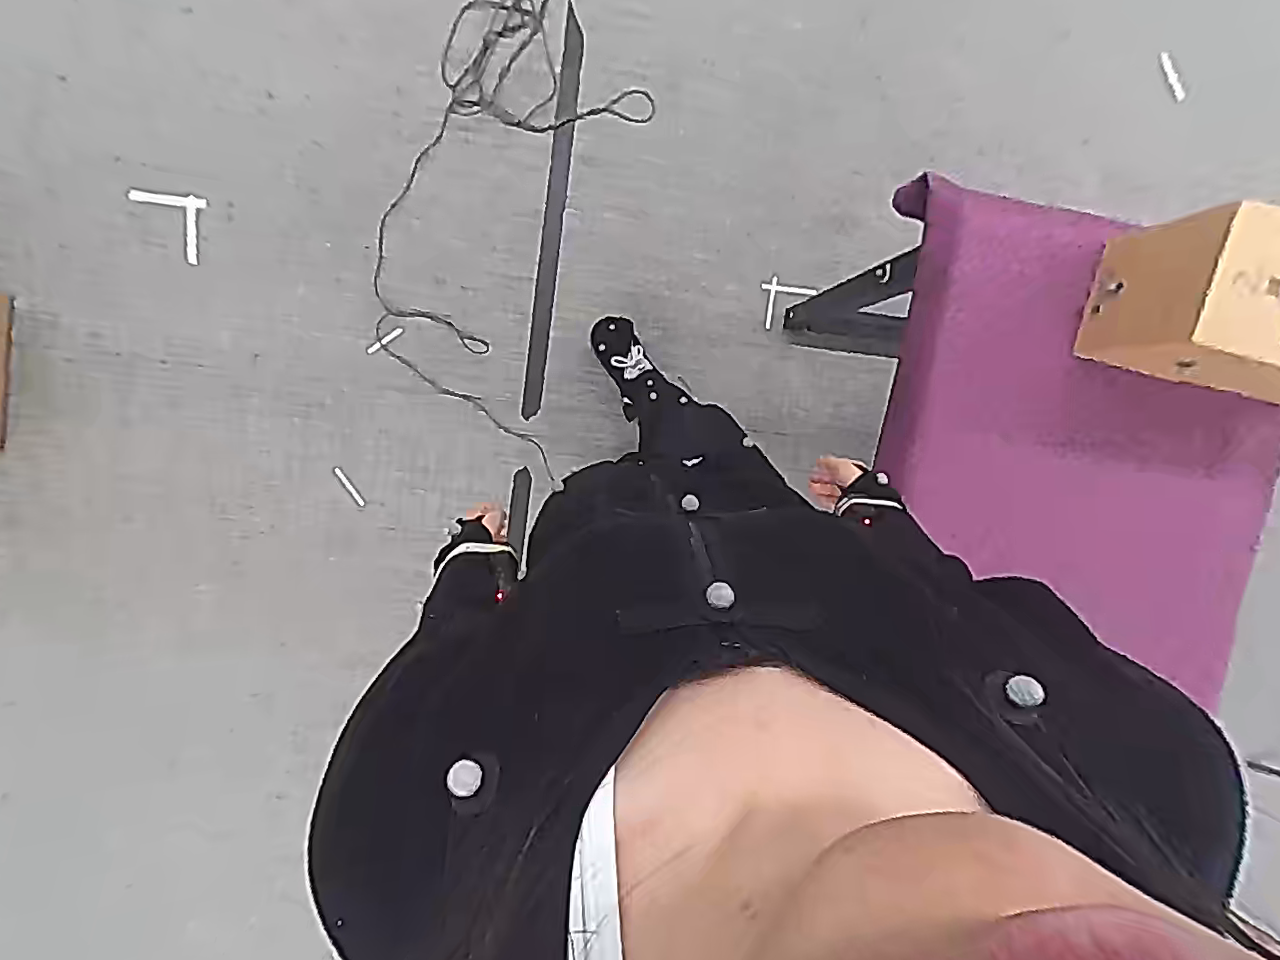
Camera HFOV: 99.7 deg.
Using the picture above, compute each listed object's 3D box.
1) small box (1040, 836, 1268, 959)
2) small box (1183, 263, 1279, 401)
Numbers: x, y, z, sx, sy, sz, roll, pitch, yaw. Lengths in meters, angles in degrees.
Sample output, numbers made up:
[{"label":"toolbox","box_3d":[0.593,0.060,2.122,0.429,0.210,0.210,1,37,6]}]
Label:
[{"label":"small box","box_3d":[0.794,0.701,0.854,0.179,0.176,0.168,11,98,-8]},{"label":"small box","box_3d":[0.921,-0.201,0.734,0.179,0.176,0.168,11,97,-6]}]
